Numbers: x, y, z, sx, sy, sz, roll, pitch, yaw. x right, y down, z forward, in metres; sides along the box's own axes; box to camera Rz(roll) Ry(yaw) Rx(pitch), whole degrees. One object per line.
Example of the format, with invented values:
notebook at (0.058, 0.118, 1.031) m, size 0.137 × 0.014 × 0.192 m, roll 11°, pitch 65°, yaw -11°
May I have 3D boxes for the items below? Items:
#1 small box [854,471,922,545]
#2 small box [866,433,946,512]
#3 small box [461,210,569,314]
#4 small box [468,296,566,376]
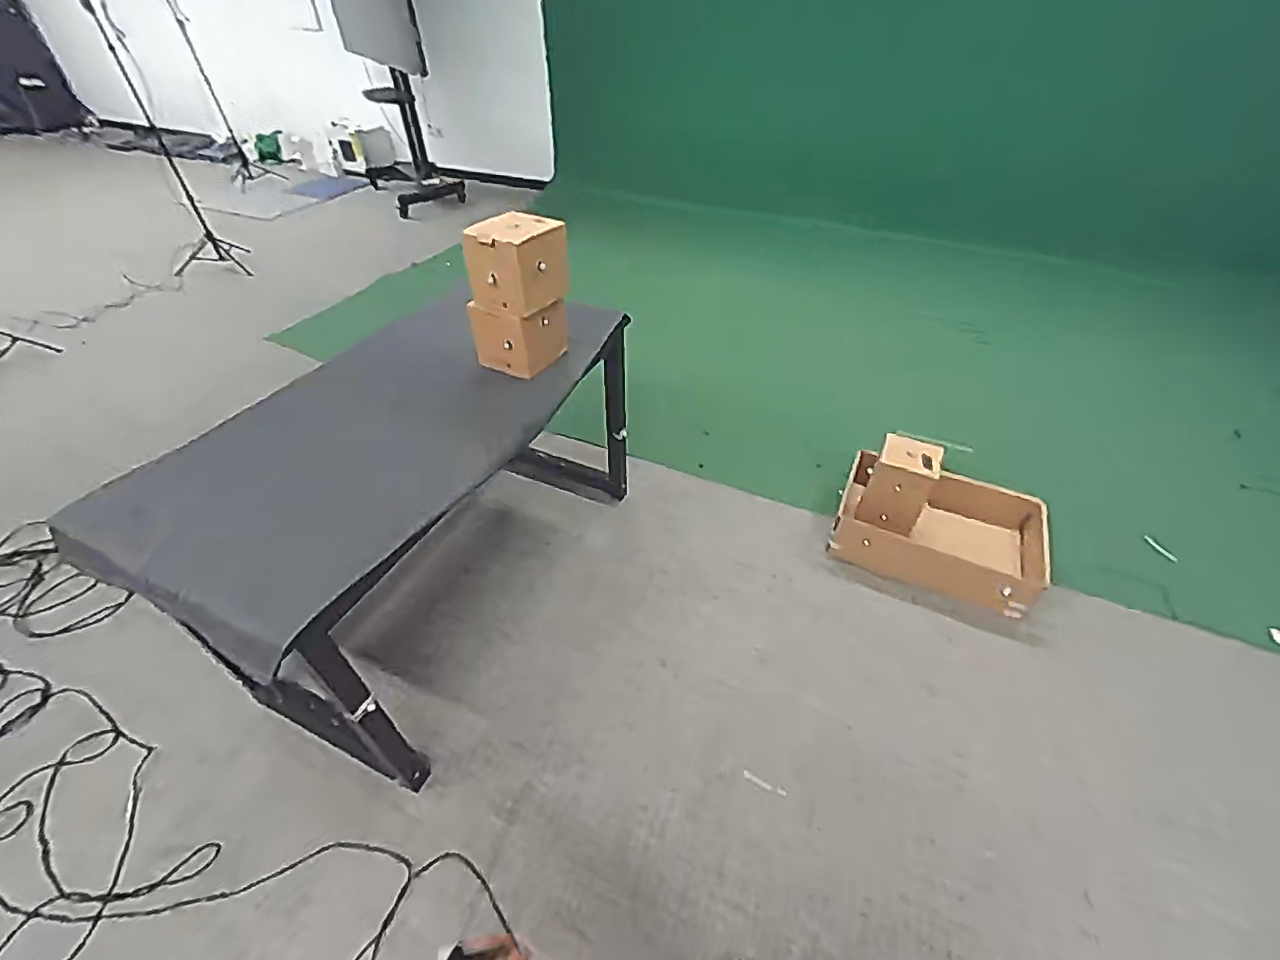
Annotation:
small box at (0.856, 0.096, 1.861) m, size 0.179 × 0.176 × 0.168 m, roll 20°, pitch 48°, yaw 18°
small box at (0.856, -0.020, 1.745) m, size 0.179 × 0.176 × 0.168 m, roll 20°, pitch 47°, yaw 20°
small box at (-0.281, -0.509, 1.265) m, size 0.168 × 0.176 × 0.179 m, roll 23°, pitch 48°, yaw 22°
small box at (-0.301, -0.386, 1.374) m, size 0.168 × 0.176 × 0.179 m, roll 21°, pitch 46°, yaw 20°
